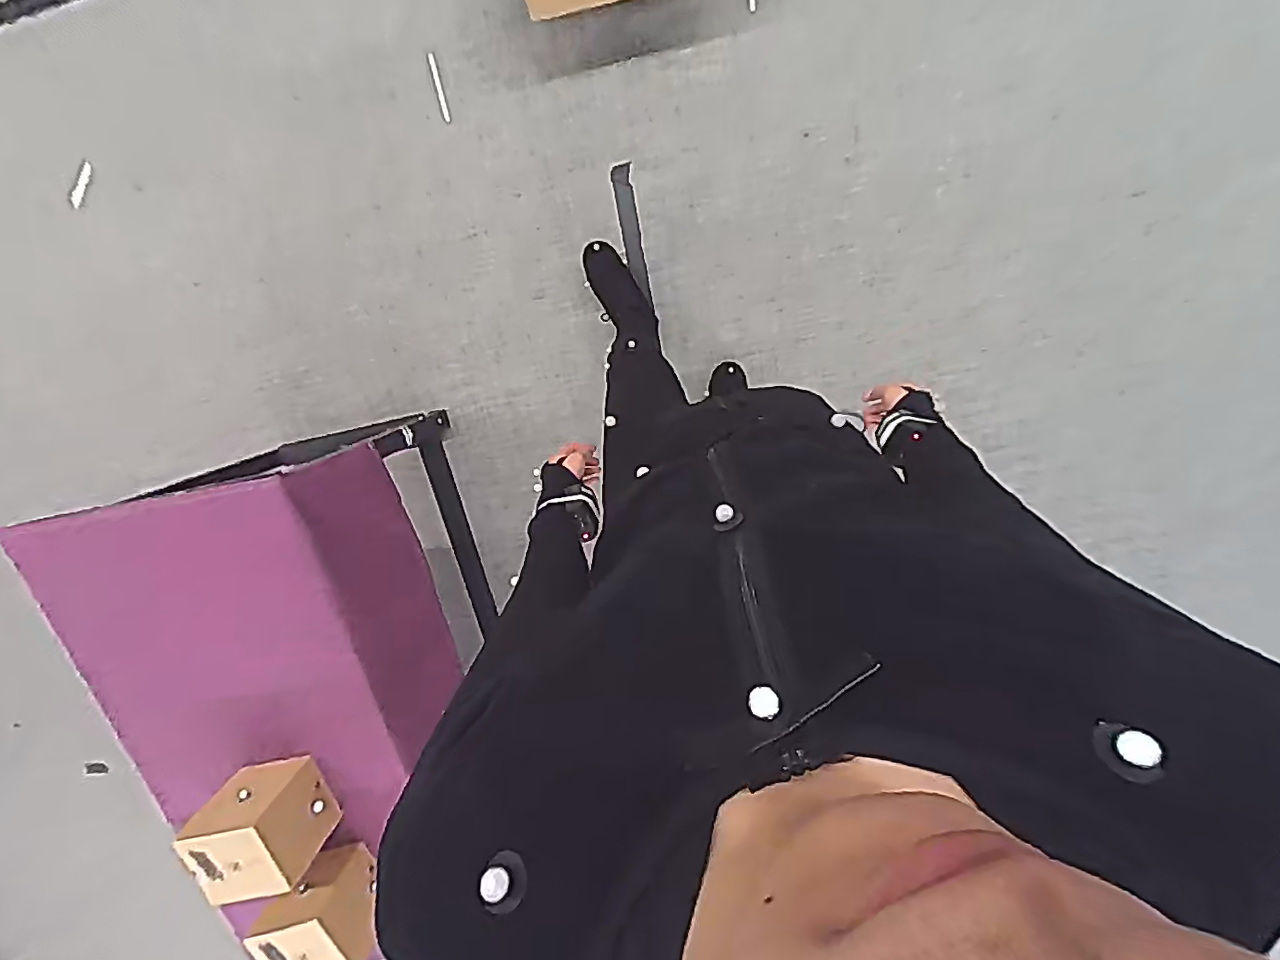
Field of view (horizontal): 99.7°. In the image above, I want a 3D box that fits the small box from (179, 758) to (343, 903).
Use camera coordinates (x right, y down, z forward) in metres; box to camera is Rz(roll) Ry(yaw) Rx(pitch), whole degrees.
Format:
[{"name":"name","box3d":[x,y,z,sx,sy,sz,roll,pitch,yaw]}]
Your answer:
[{"name":"small box","box3d":[-0.744,0.694,1.083,0.179,0.176,0.168,-14,106,8]}]
